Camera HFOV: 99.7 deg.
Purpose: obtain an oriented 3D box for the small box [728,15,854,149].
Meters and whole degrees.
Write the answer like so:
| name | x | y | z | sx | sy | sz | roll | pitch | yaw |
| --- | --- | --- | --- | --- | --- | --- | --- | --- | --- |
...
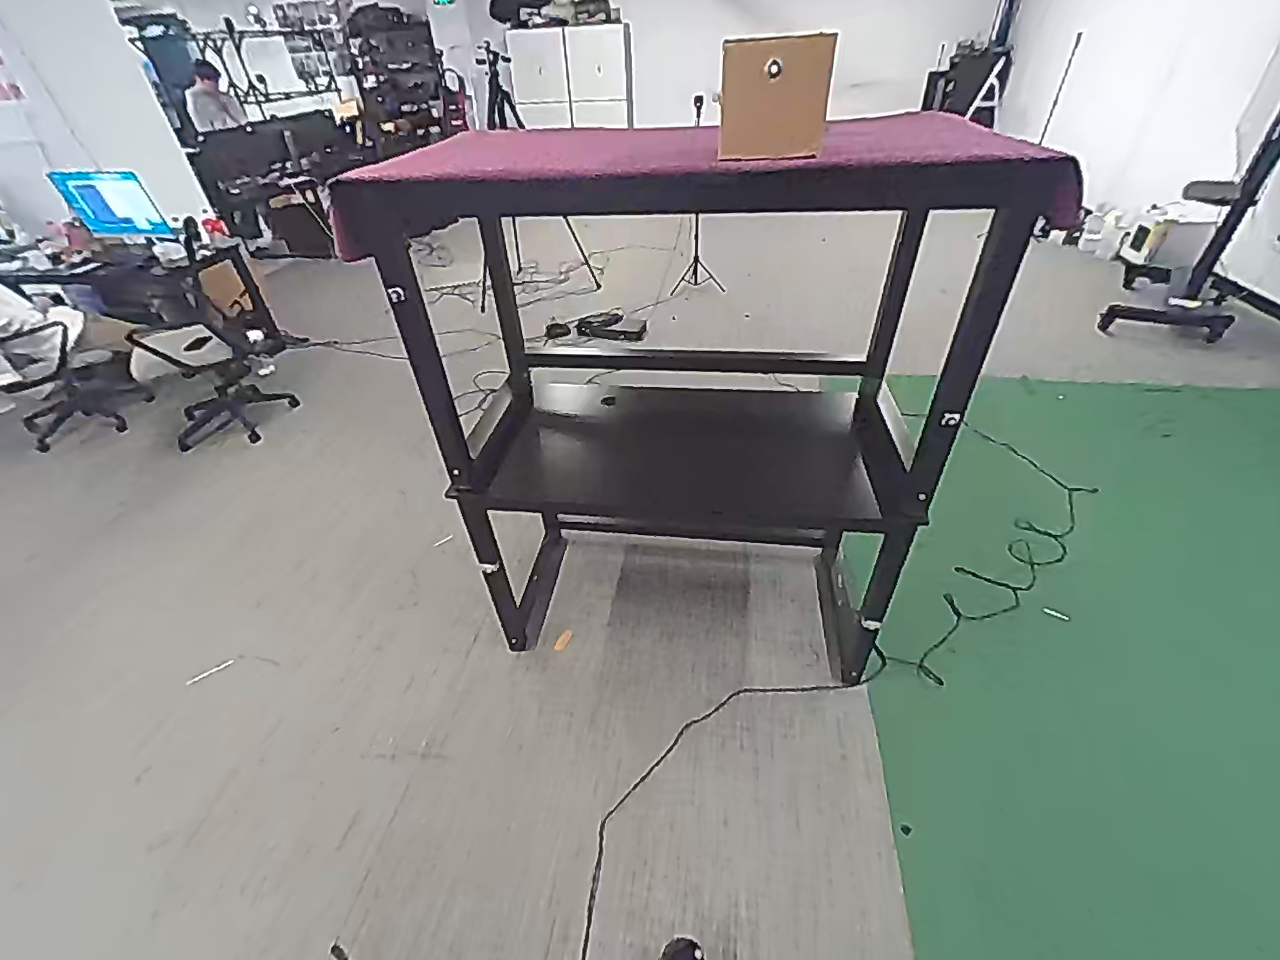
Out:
| name | x | y | z | sx | sy | sz | roll | pitch | yaw |
| --- | --- | --- | --- | --- | --- | --- | --- | --- | --- |
| small box | 0.244 | -0.663 | 0.909 | 0.179 | 0.176 | 0.168 | 6 | 40 | 9 |
